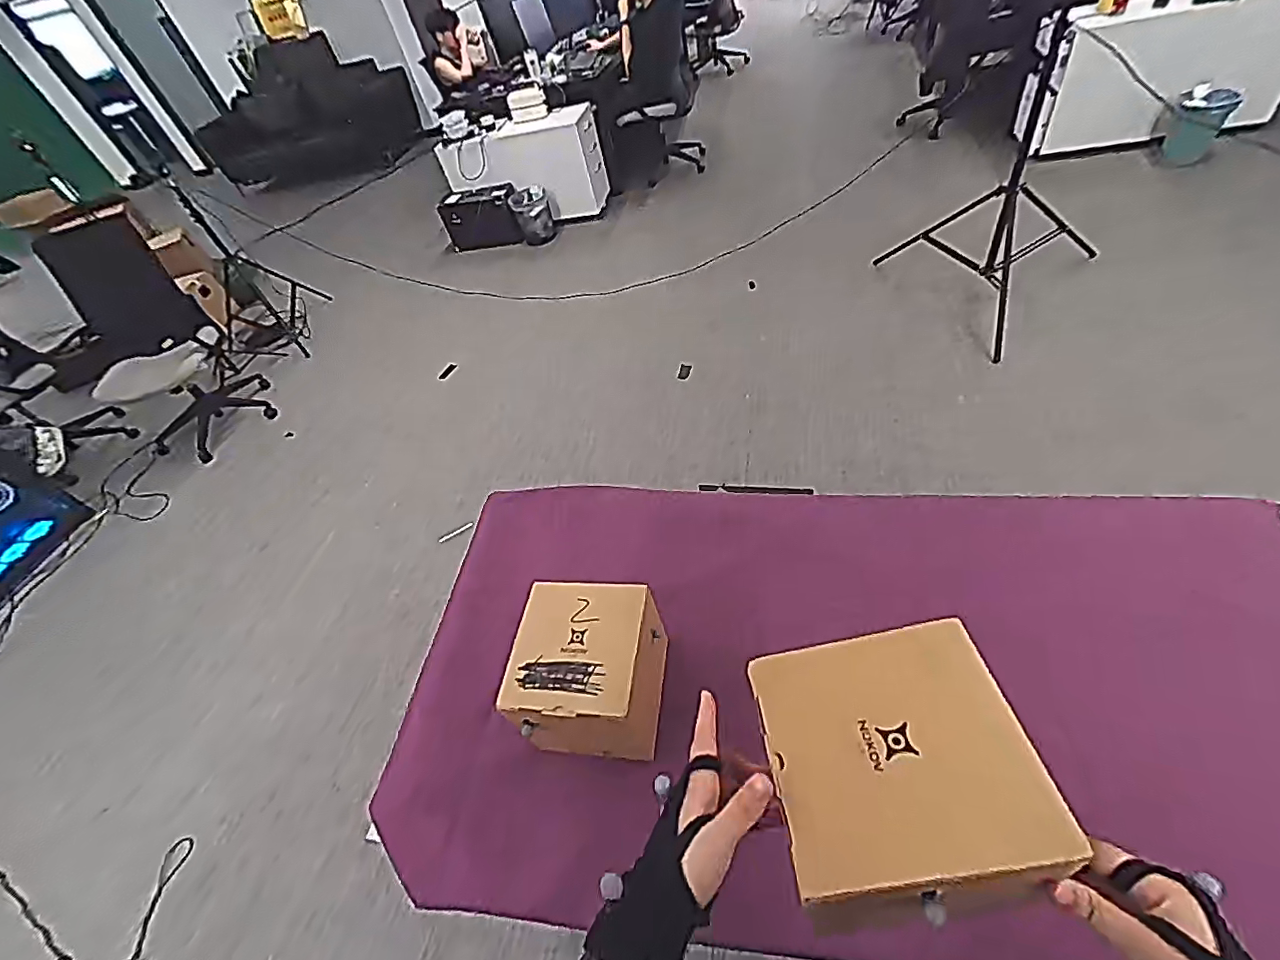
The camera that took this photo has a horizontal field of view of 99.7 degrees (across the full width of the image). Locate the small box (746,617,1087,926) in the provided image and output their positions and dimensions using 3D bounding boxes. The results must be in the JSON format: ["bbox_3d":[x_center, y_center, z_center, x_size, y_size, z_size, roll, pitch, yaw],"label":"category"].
[{"bbox_3d":[0.200,0.241,0.441,0.179,0.176,0.168,-16,42,8],"label":"small box"}]
